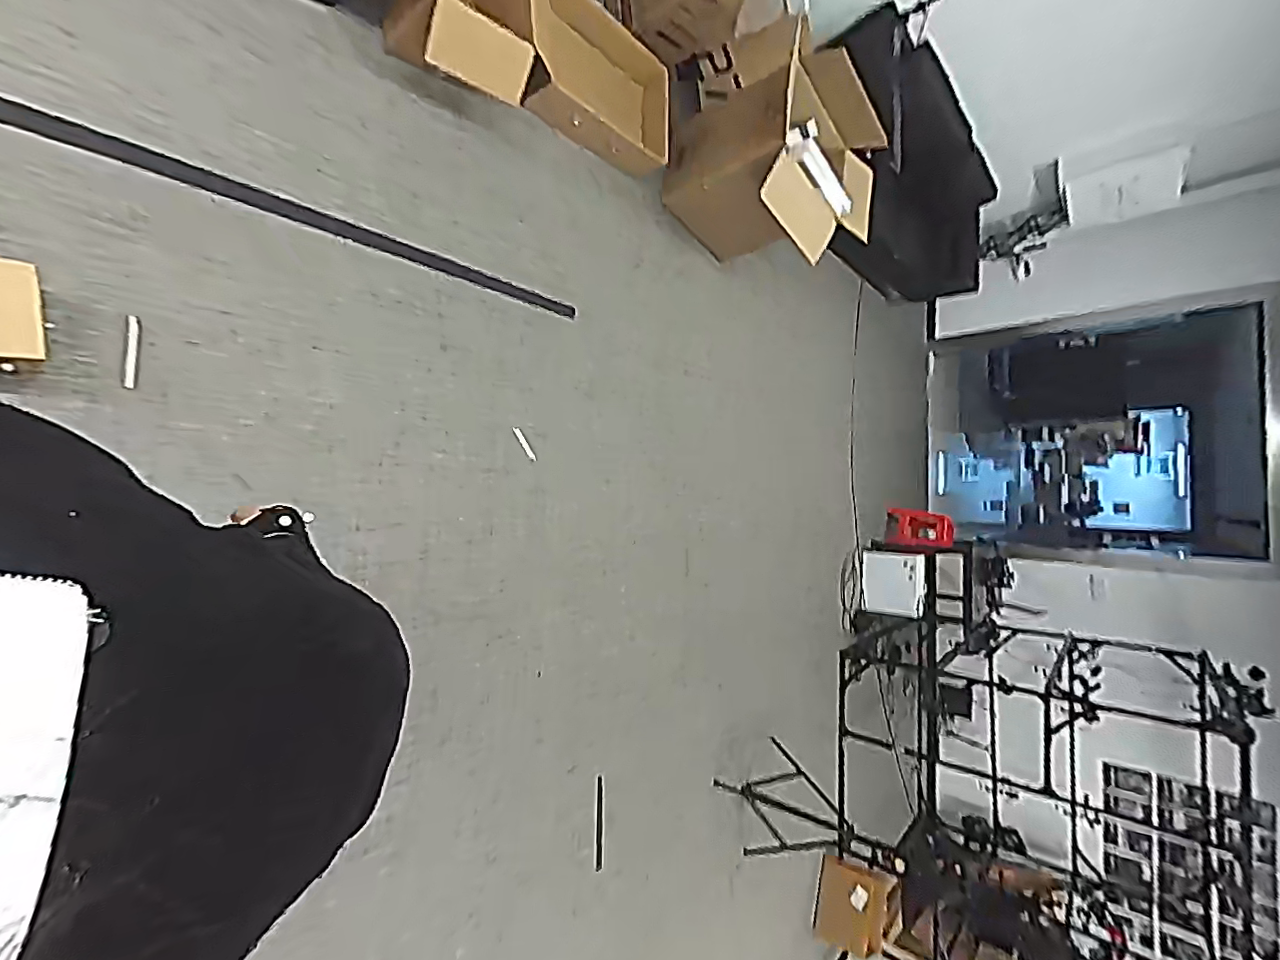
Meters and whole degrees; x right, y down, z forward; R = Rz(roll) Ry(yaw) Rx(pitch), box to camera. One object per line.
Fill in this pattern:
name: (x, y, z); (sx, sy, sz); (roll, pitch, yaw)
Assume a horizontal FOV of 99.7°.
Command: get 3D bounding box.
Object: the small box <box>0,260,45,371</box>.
small box: (-1.153, -0.283, 0.921); (0.179, 0.176, 0.168); (-5, 93, -49)
